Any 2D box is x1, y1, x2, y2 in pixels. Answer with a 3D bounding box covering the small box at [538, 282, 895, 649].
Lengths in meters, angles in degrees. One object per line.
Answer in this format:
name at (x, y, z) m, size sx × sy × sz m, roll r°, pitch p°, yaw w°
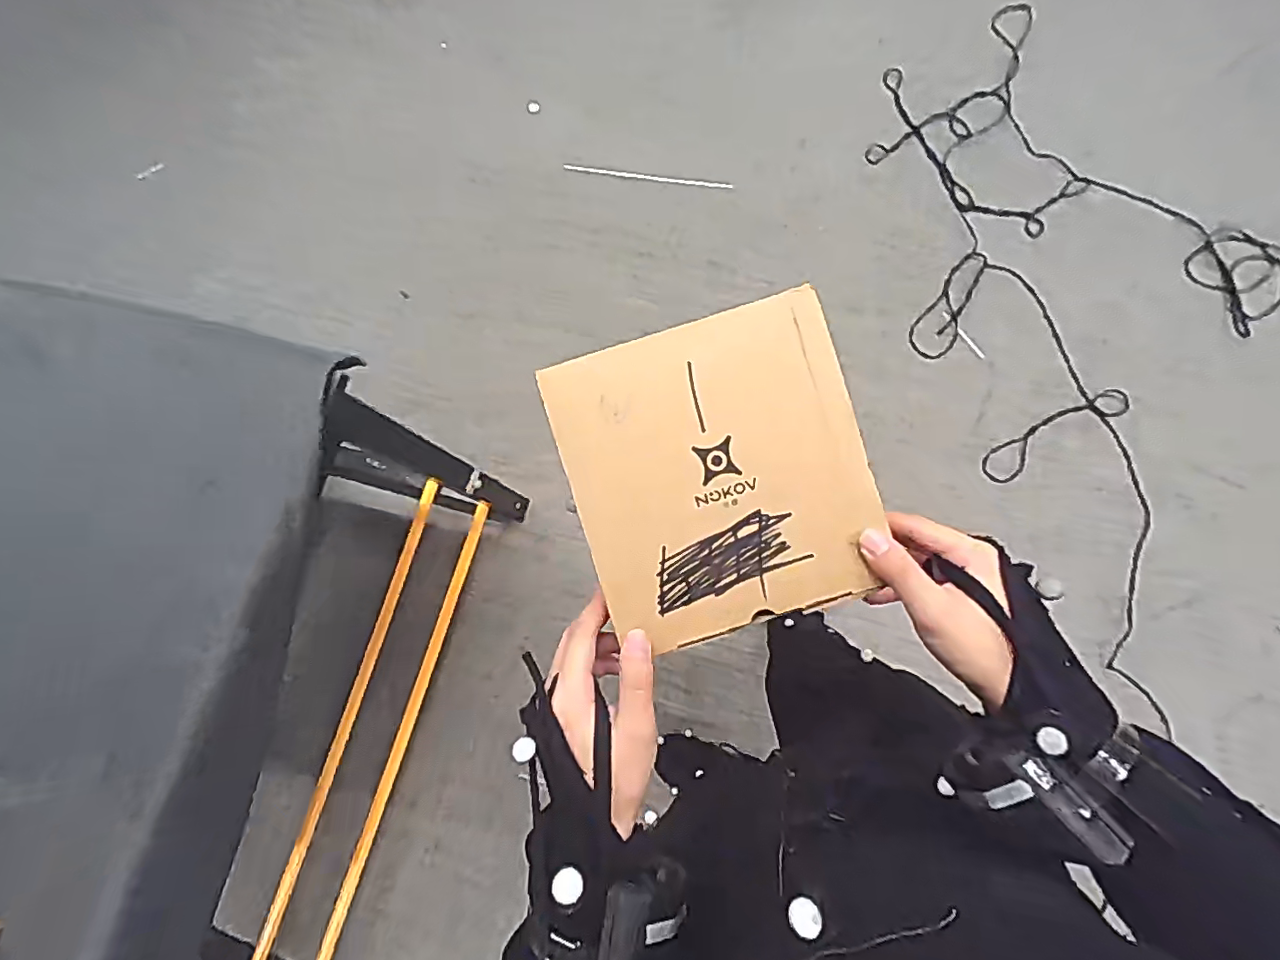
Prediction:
small box at (0.044, -0.008, 0.383) m, size 0.168 × 0.176 × 0.179 m, roll -17°, pitch 89°, yaw 1°
